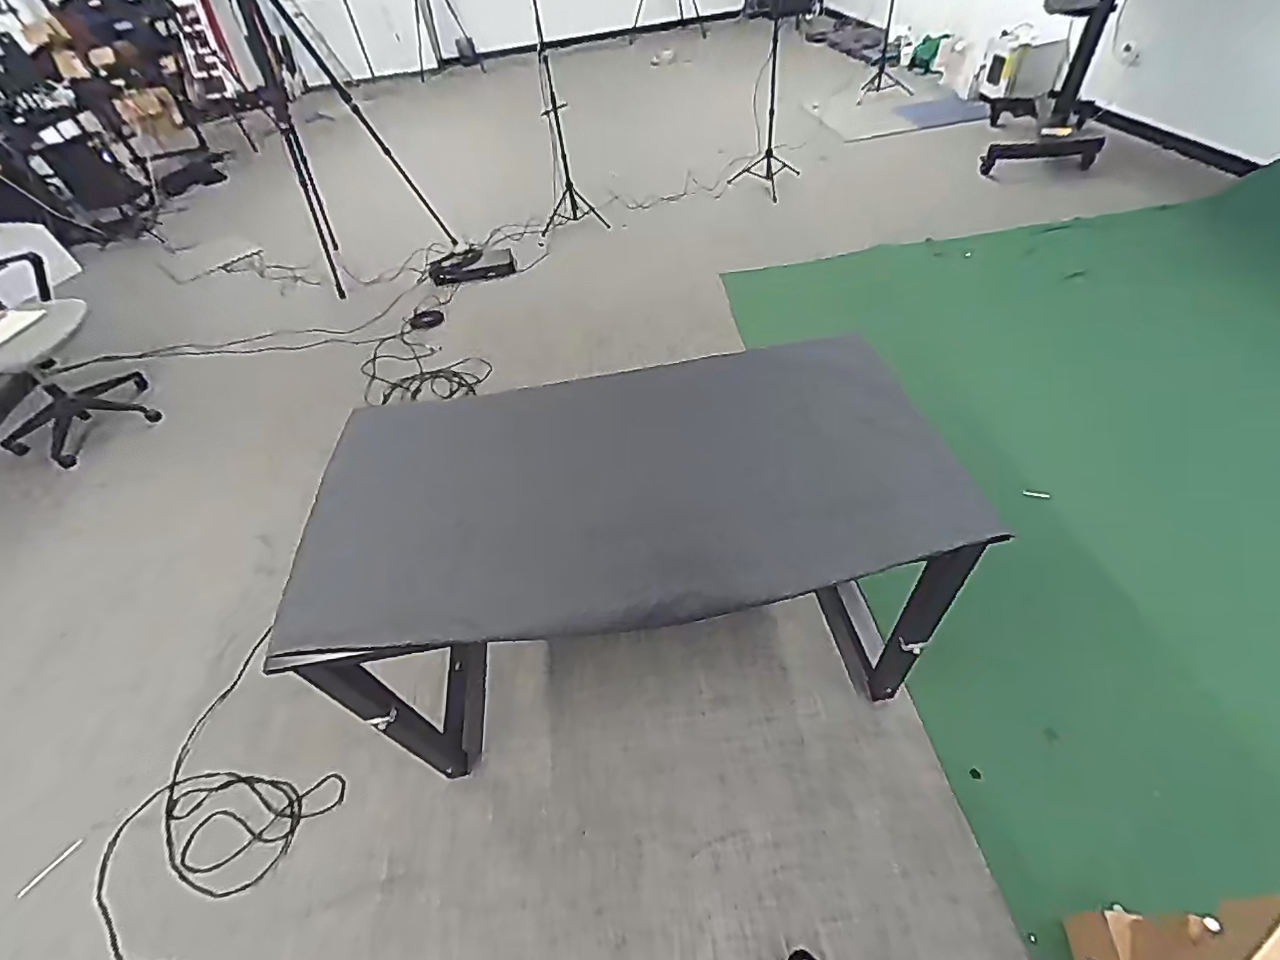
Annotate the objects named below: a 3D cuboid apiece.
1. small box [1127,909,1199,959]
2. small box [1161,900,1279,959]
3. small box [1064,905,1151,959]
[{"bbox_3d":[0.886,0.804,0.827,0.179,0.176,0.168,20,56,23],"label":"small box"},{"bbox_3d":[0.867,0.689,0.710,0.168,0.176,0.179,-28,50,-15],"label":"small box"},{"bbox_3d":[0.905,0.886,0.969,0.179,0.176,0.168,3,50,10],"label":"small box"}]
